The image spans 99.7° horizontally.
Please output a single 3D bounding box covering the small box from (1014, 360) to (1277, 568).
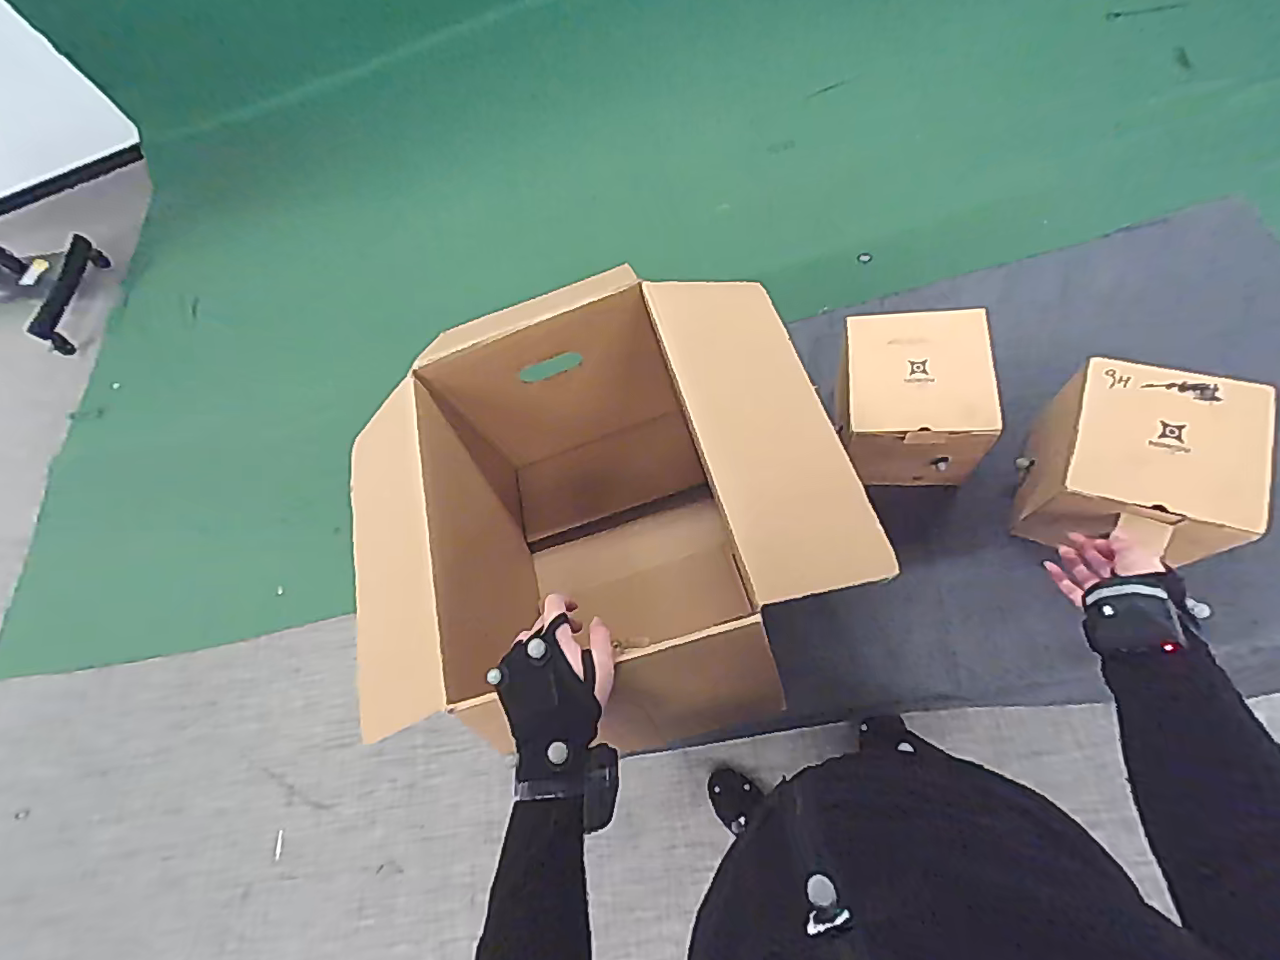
[{"bbox_3d":[0.584,-0.012,0.652,0.168,0.176,0.179,20,76,22],"label":"small box"}]
